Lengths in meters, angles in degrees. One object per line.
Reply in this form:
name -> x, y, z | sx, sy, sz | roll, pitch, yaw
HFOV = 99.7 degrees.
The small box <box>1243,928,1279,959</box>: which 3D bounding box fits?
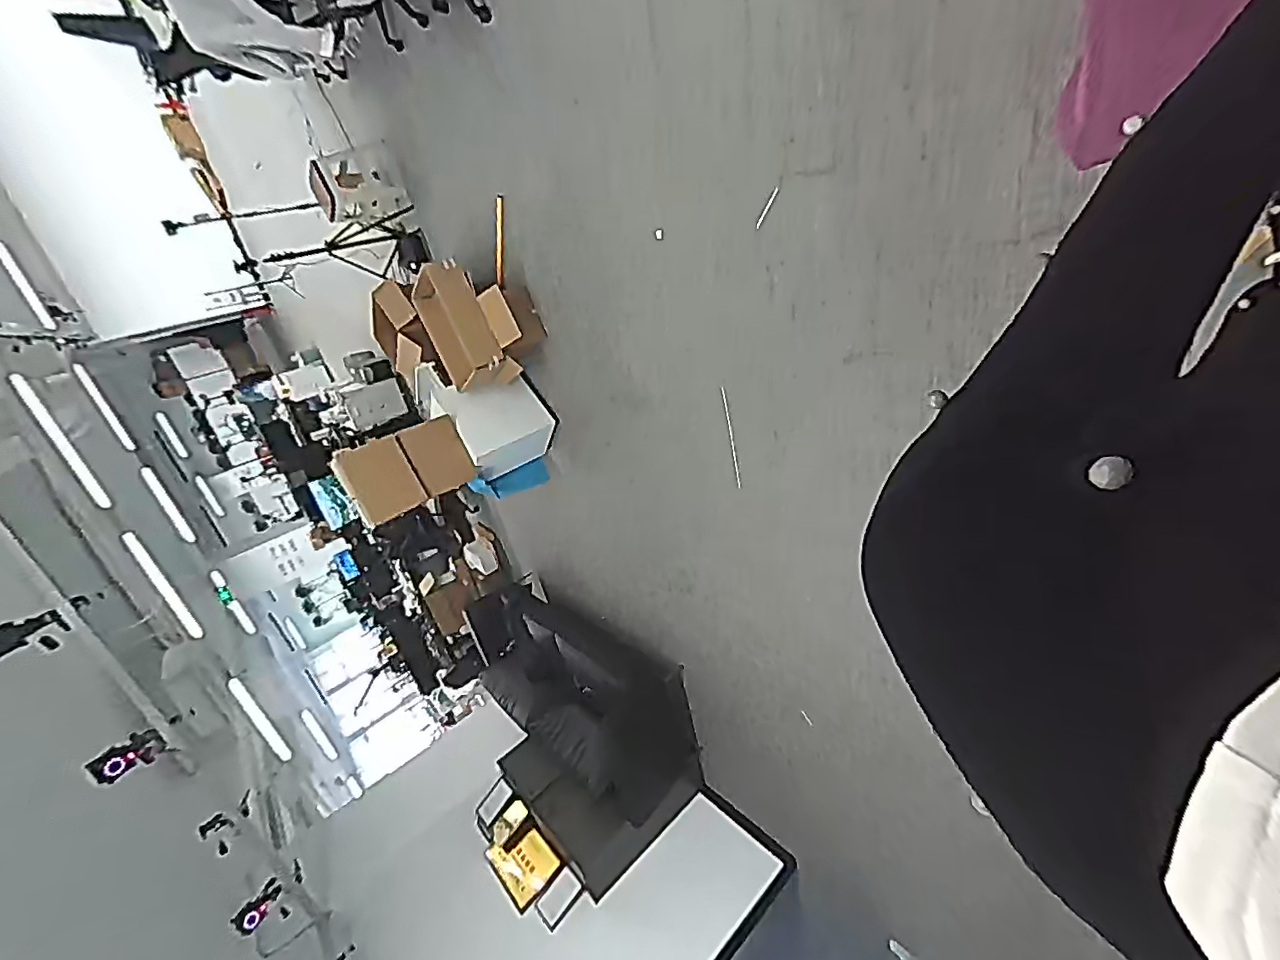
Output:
small box -> 1.761, 1.371, 1.447 | 0.179, 0.176, 0.168 | 23, 132, 46
